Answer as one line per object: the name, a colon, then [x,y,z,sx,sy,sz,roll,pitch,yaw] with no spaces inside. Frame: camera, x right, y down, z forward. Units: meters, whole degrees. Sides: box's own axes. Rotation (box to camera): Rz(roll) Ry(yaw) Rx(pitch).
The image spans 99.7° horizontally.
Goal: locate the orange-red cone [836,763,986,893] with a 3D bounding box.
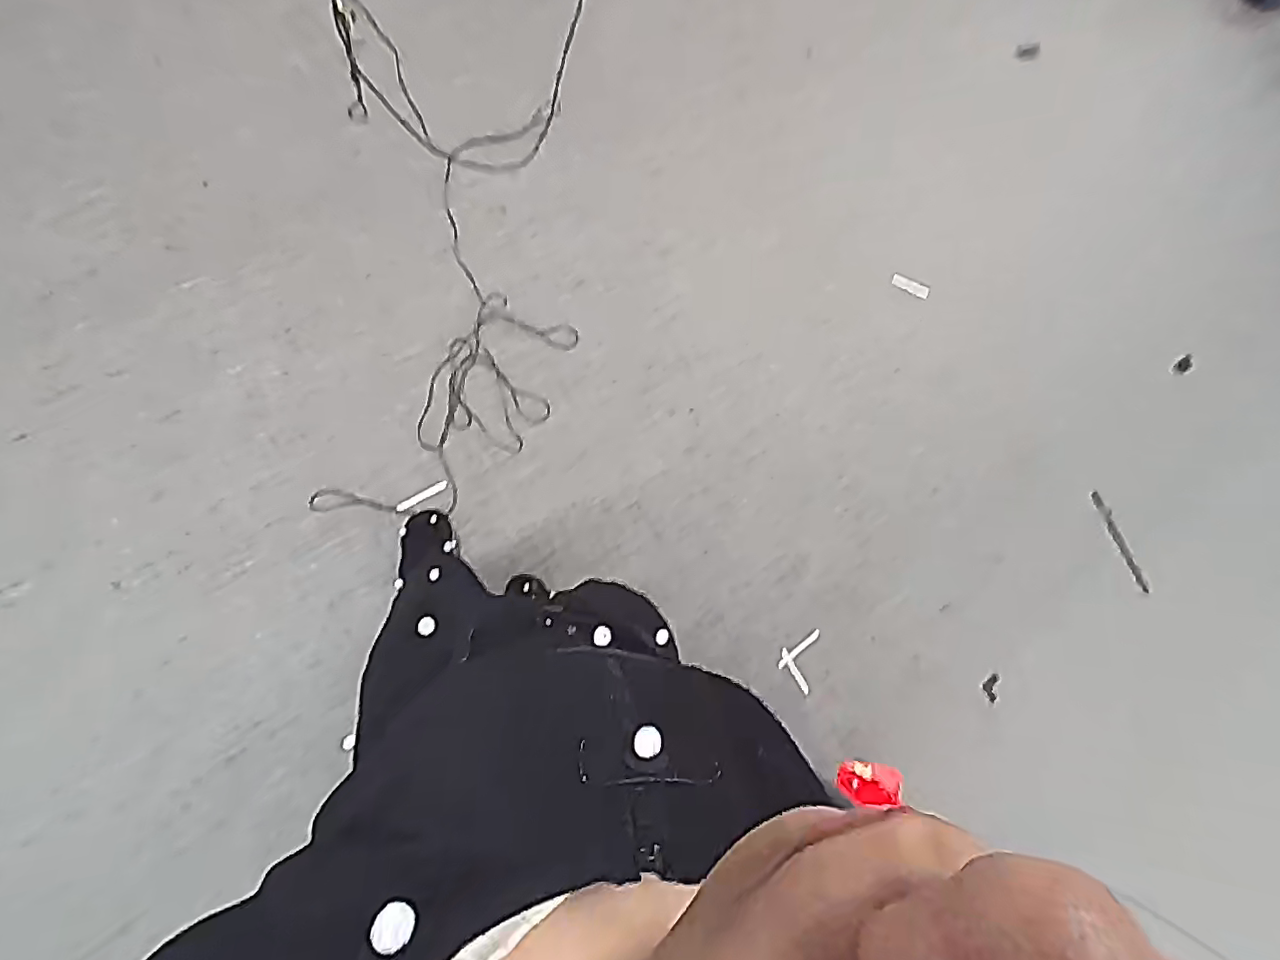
orange-red cone: [0.669,0.865,1.298,0.198,0.360,0.199,15,81,-11]
